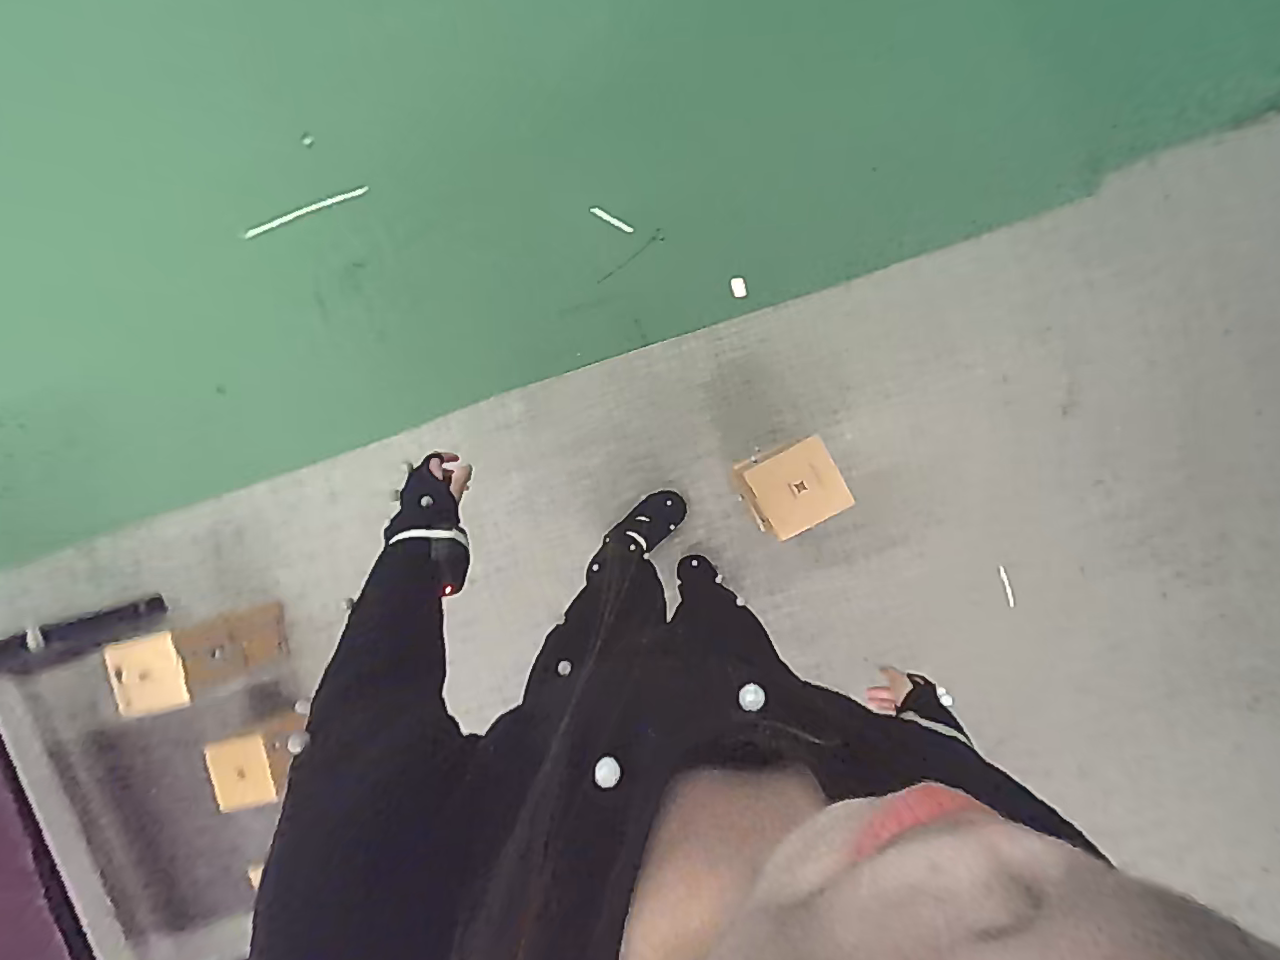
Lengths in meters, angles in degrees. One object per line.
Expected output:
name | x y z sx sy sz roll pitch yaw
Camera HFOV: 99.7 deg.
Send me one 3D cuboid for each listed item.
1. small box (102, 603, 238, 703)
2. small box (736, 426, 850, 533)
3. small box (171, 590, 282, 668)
small box | -1.115 0.409 1.304 0.179 0.176 0.168 -13 92 3
small box | 0.320 -0.003 1.179 0.179 0.176 0.168 -28 91 4
small box | -1.110 0.406 1.469 0.179 0.176 0.168 -9 93 5
